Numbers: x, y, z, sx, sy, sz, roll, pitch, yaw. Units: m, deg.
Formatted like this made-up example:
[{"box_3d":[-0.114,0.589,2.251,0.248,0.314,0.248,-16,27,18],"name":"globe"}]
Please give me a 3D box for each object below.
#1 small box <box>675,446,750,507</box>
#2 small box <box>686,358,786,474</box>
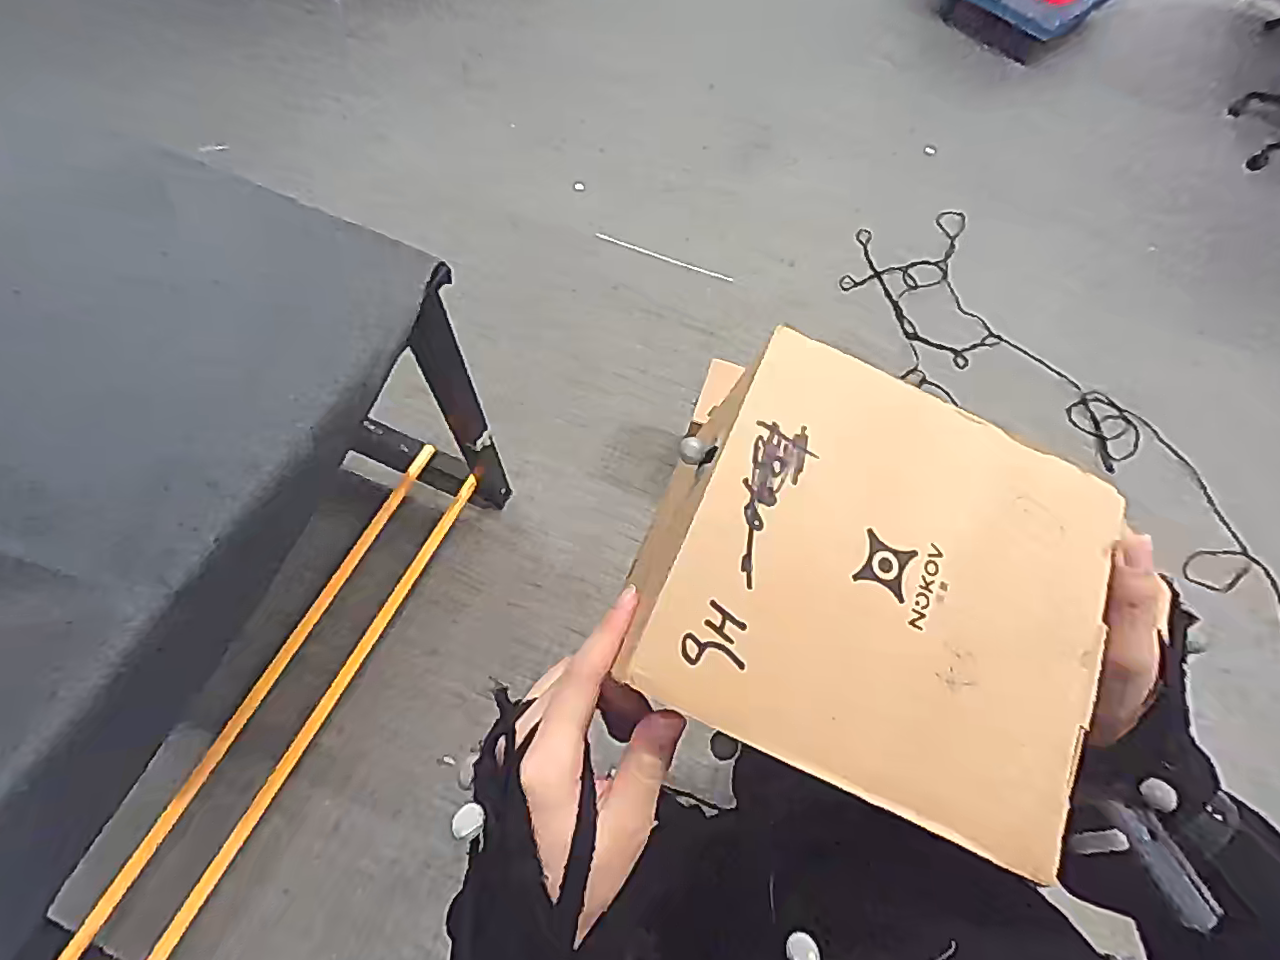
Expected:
[{"box_3d":[0.193,-0.058,1.360,0.168,0.176,0.179,17,65,5],"name":"small box"},{"box_3d":[0.209,-0.137,1.216,0.168,0.176,0.179,19,64,4],"name":"small box"}]
